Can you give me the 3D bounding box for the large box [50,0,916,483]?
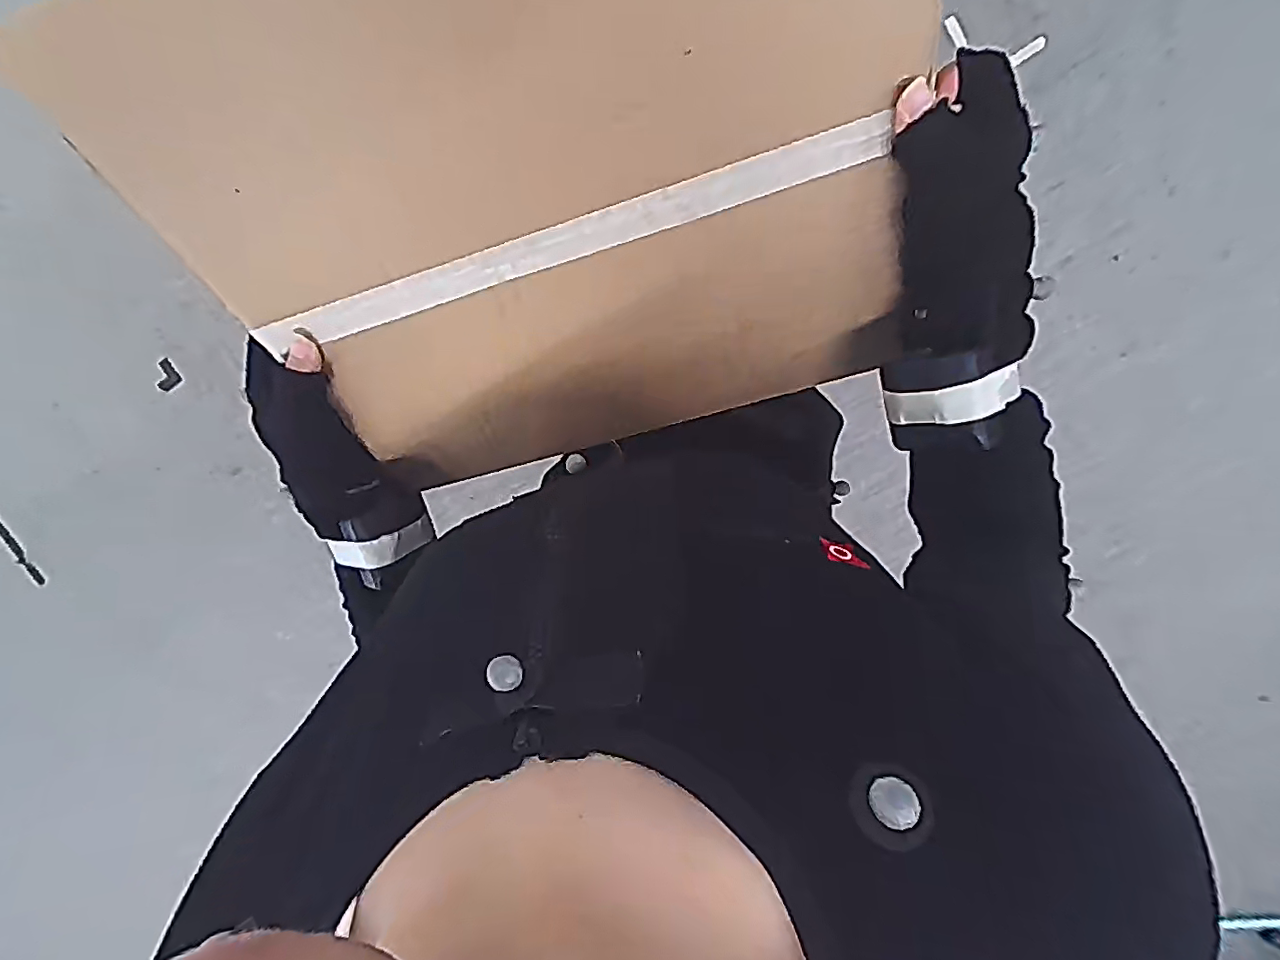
[{"bbox_3d":[-0.055,-0.252,0.422,0.408,0.320,0.320,-15,136,10],"label":"large box"}]
